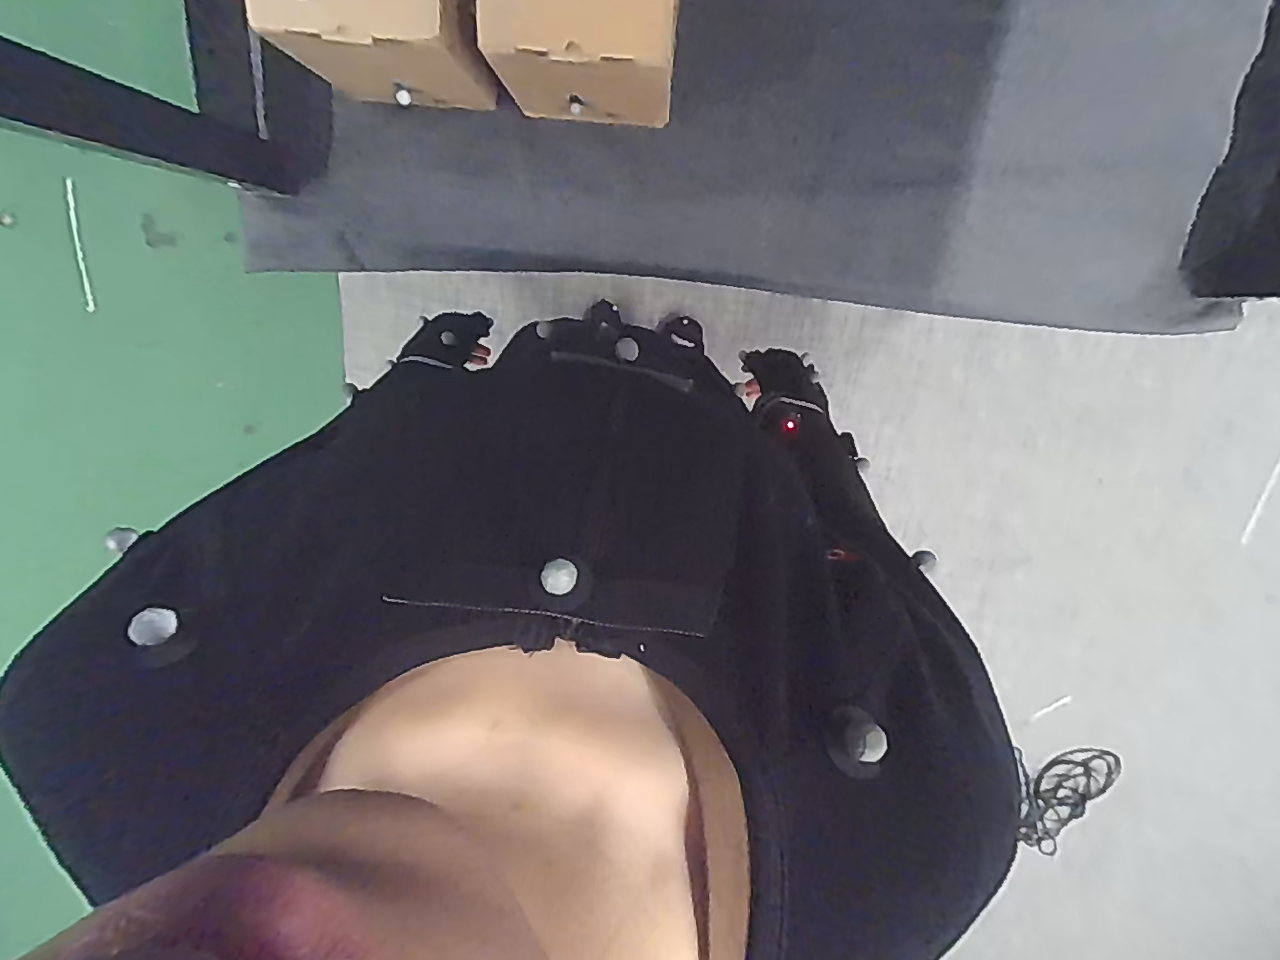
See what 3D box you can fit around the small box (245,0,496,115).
[{"bbox_3d":[-0.240,-0.477,0.507,0.168,0.176,0.179,4,108,1],"label":"small box"}]
